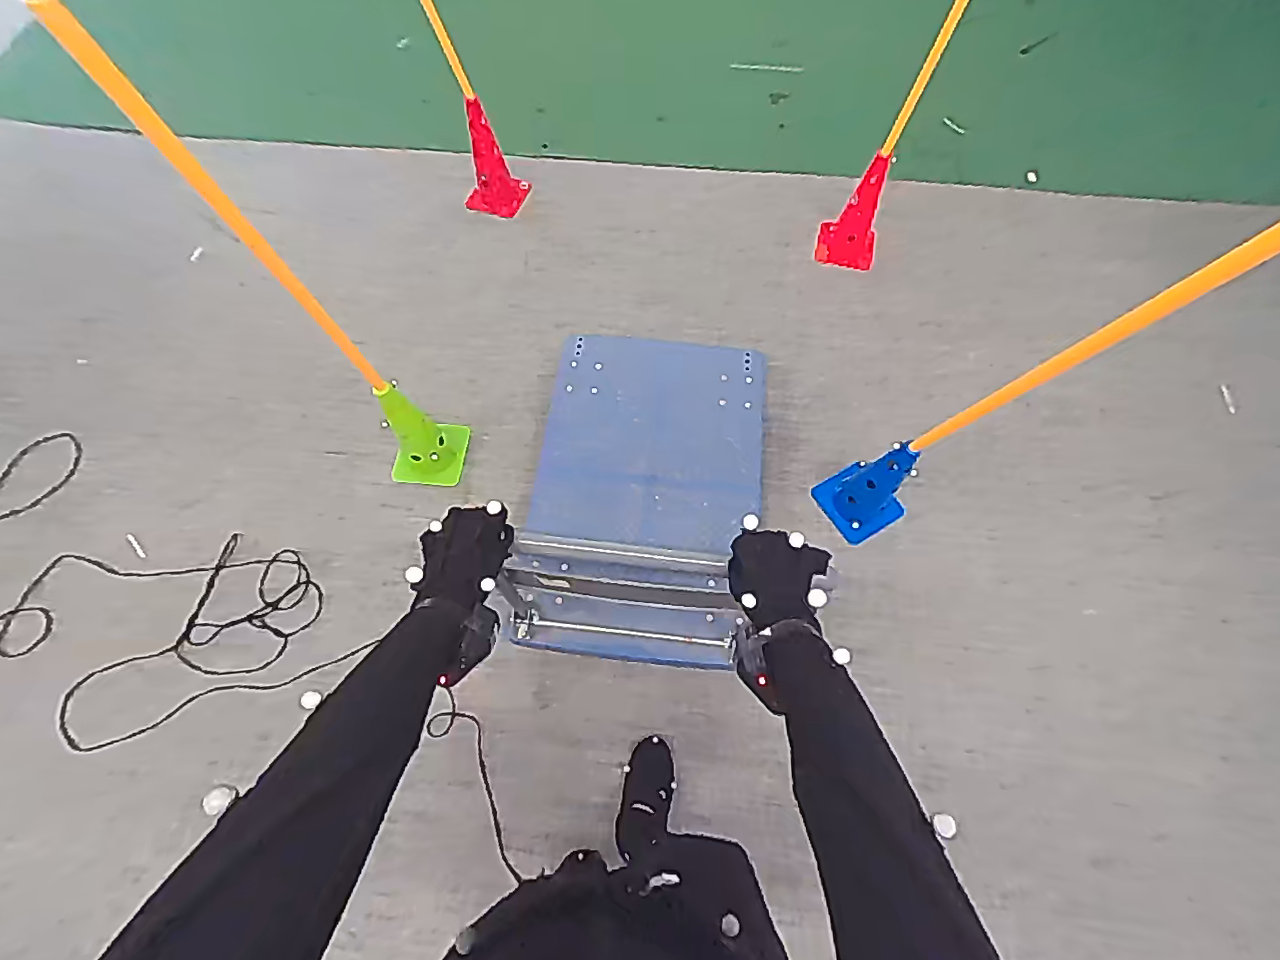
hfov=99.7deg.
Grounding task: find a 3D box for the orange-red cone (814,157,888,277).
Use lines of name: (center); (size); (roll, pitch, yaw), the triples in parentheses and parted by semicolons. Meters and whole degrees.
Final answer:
orange-red cone: (0.726, -0.877, 1.769); (0.198, 0.360, 0.199); (15, 68, 8)
